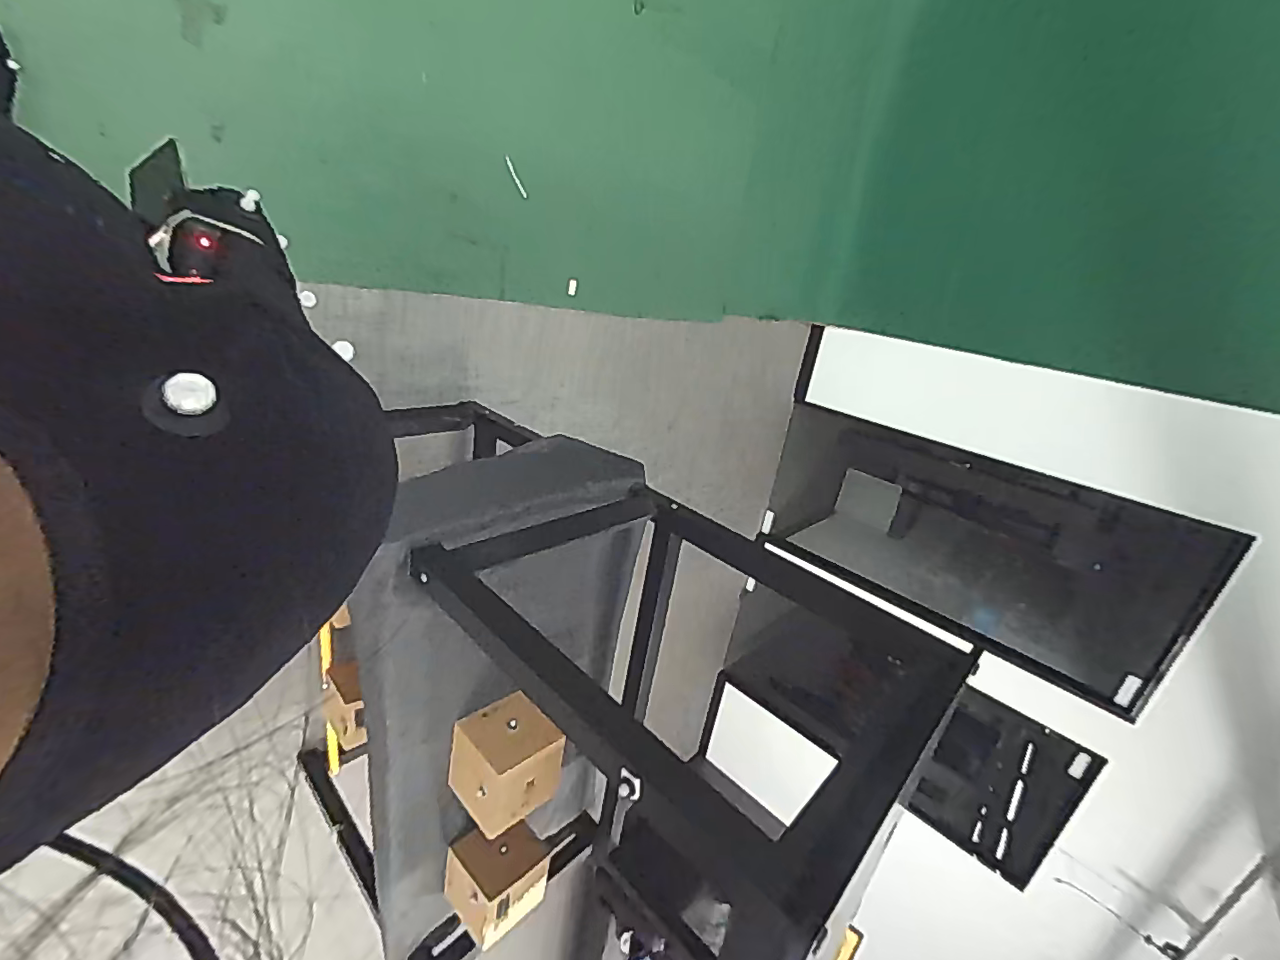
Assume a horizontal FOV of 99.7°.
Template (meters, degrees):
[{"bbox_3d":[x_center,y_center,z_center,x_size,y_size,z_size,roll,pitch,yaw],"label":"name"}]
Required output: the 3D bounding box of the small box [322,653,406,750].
[{"bbox_3d":[-0.816,0.642,1.589,0.179,0.176,0.168,-10,119,-47],"label":"small box"}]

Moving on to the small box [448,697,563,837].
[{"bbox_3d":[-0.290,0.593,1.150,0.168,0.176,0.179,-10,119,-47],"label":"small box"}]
